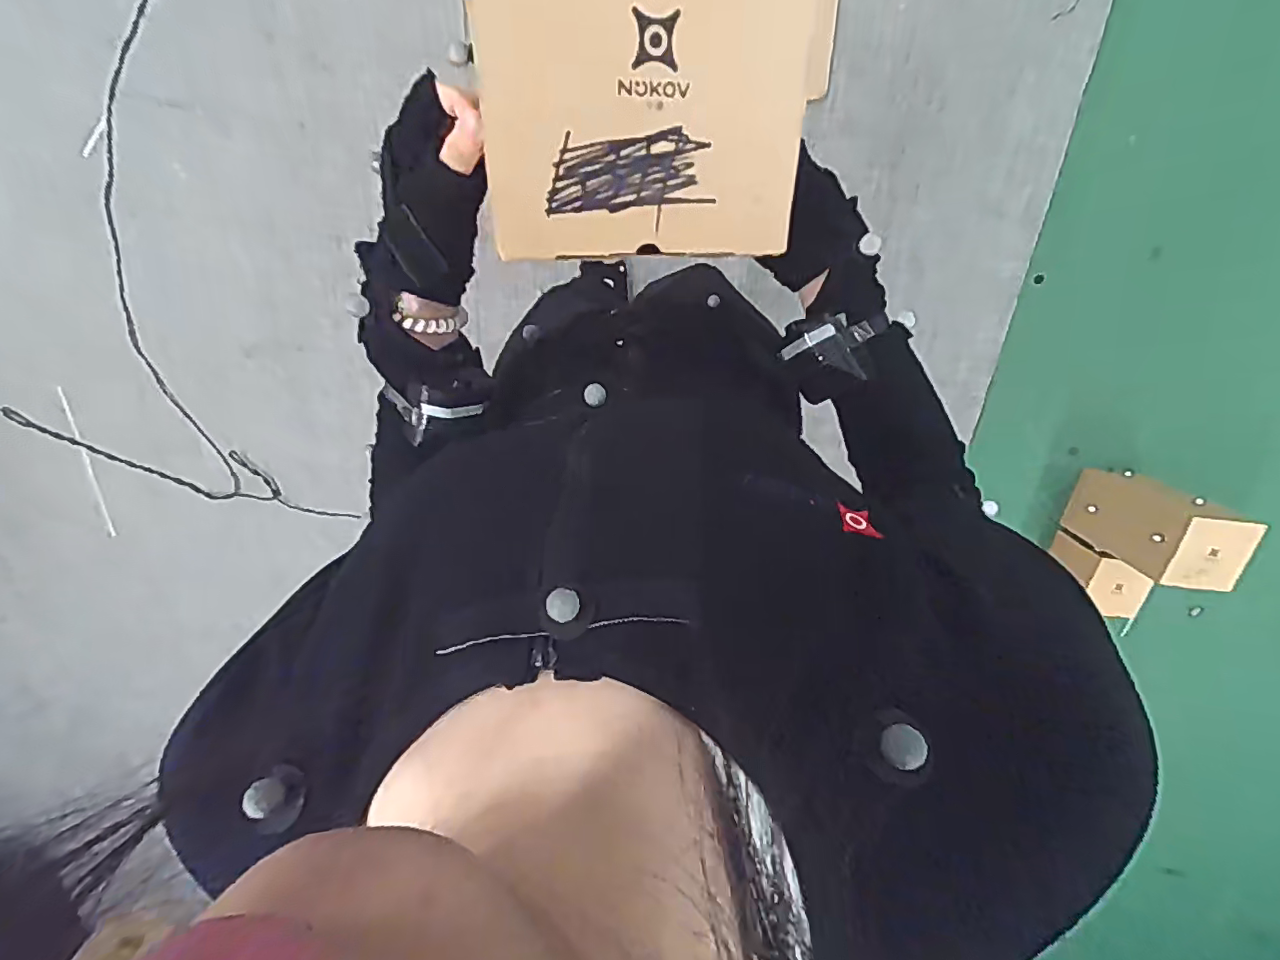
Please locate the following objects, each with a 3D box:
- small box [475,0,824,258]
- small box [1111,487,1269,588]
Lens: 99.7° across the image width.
[{"bbox_3d":[-0.009,-0.242,0.324,0.168,0.176,0.179,-6,122,-12],"label":"small box"},{"bbox_3d":[1.281,0.129,1.278,0.168,0.176,0.179,7,112,0],"label":"small box"}]
